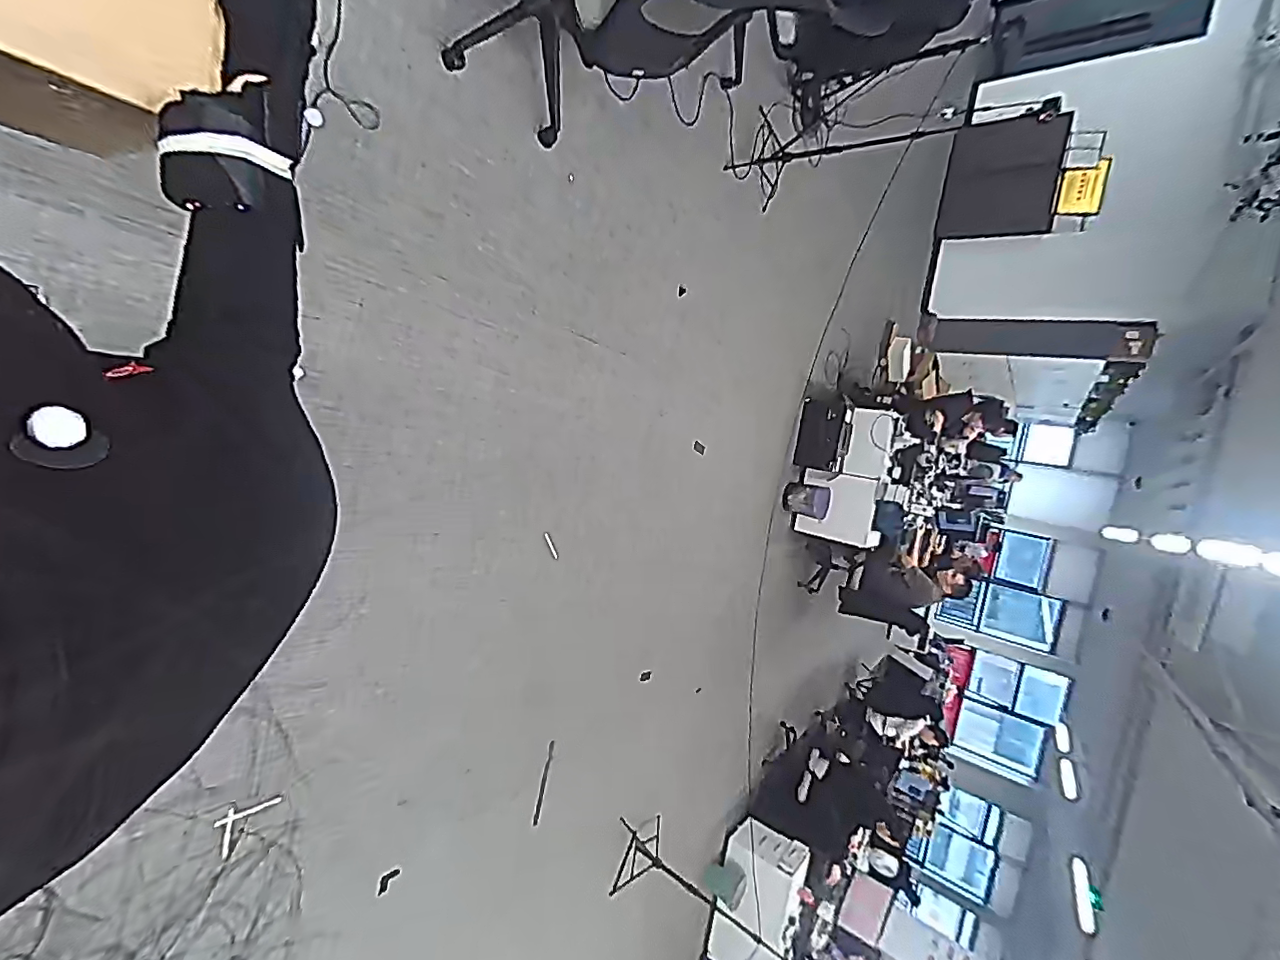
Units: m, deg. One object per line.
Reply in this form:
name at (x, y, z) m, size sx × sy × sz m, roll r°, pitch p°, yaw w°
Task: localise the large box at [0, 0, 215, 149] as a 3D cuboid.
large box at (-0.527, -0.441, 0.296) m, size 0.408 × 0.320 × 0.320 m, roll -2°, pitch 109°, yaw -56°
